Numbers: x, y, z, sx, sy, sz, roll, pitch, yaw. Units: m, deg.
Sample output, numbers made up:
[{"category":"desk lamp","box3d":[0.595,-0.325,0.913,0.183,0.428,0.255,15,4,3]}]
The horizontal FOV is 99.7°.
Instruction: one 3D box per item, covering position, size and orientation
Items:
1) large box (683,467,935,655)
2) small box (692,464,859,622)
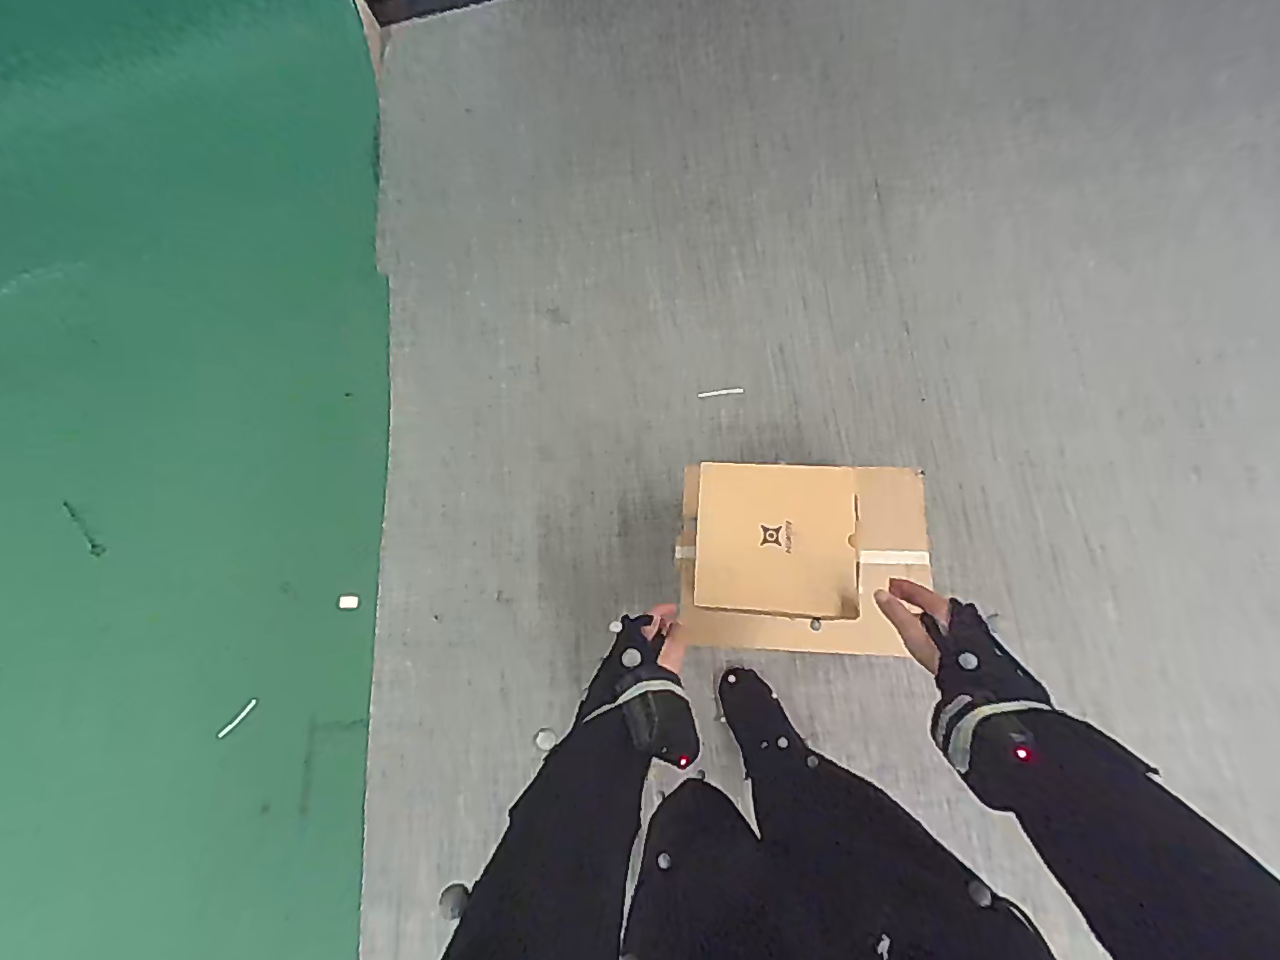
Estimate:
[{"category":"large box","box3d":[0.289,0.163,1.051,0.408,0.320,0.320,0,77,7]},{"category":"small box","box3d":[0.159,0.084,0.668,0.179,0.176,0.168,2,75,8]}]
